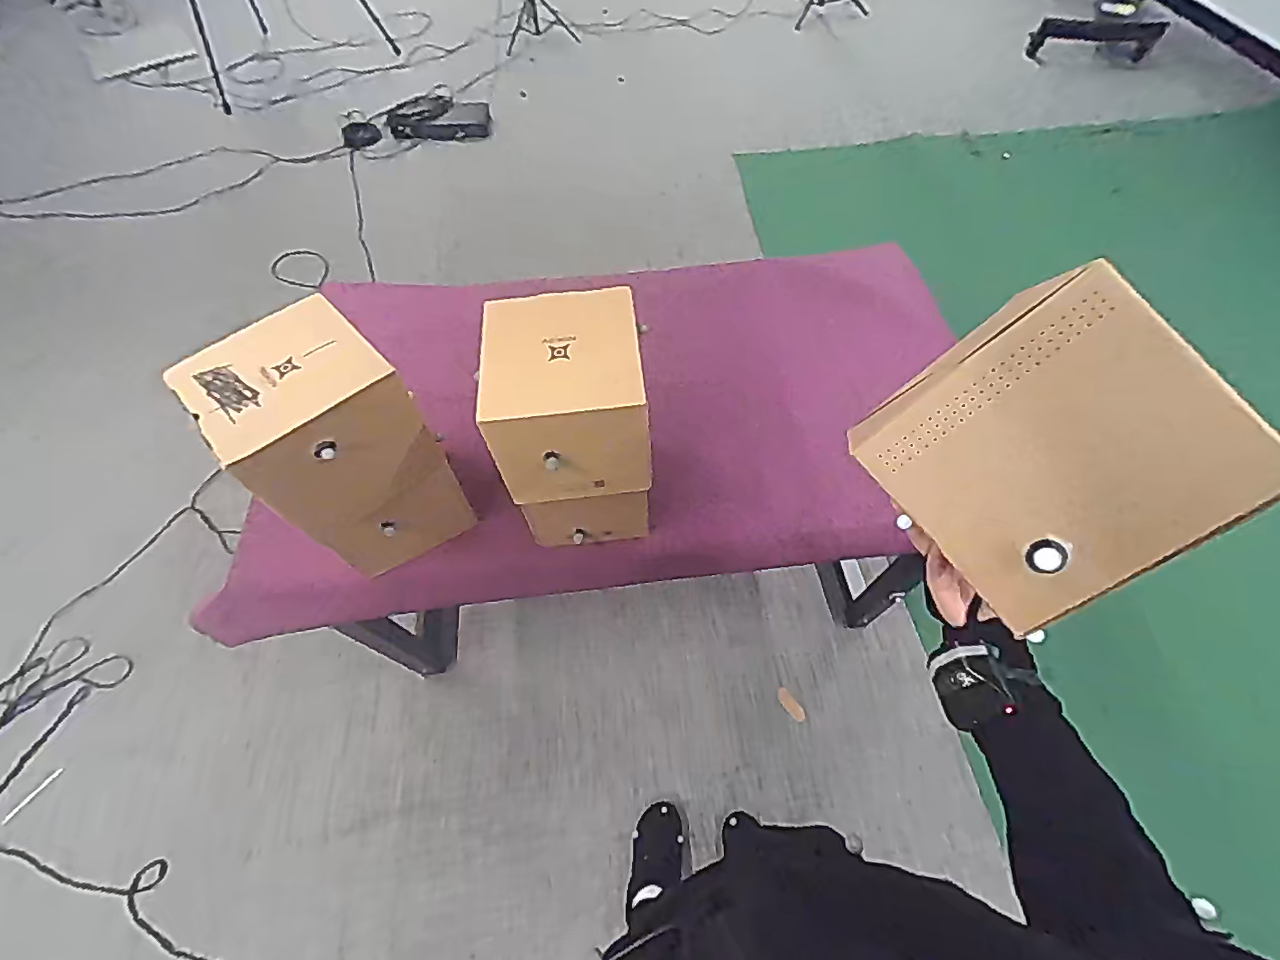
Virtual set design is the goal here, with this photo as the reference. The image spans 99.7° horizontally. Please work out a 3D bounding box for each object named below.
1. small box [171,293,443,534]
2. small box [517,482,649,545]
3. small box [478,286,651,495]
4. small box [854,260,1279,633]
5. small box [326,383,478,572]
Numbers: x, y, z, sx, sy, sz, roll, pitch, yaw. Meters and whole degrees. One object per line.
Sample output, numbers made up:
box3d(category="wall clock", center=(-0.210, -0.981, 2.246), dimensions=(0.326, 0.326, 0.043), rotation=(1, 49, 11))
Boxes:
box3d(category="small box", center=(-0.360, -0.070, 0.615), dimensions=(0.179, 0.176, 0.168), rotation=(-39, 65, -21))
box3d(category="small box", center=(-0.077, -0.024, 0.776), dimensions=(0.168, 0.176, 0.179), rotation=(-6, 59, -1))
box3d(category="small box", center=(-0.078, -0.094, 0.628), dimensions=(0.168, 0.176, 0.179), rotation=(-6, 57, -1))
box3d(category="small box", center=(0.283, -0.026, 0.404), dimensions=(0.179, 0.168, 0.176), rotation=(-42, 85, 22))
box3d(category="small box", center=(-0.357, 0.003, 0.764), dimensions=(0.179, 0.176, 0.168), rotation=(-28, 62, -15))
